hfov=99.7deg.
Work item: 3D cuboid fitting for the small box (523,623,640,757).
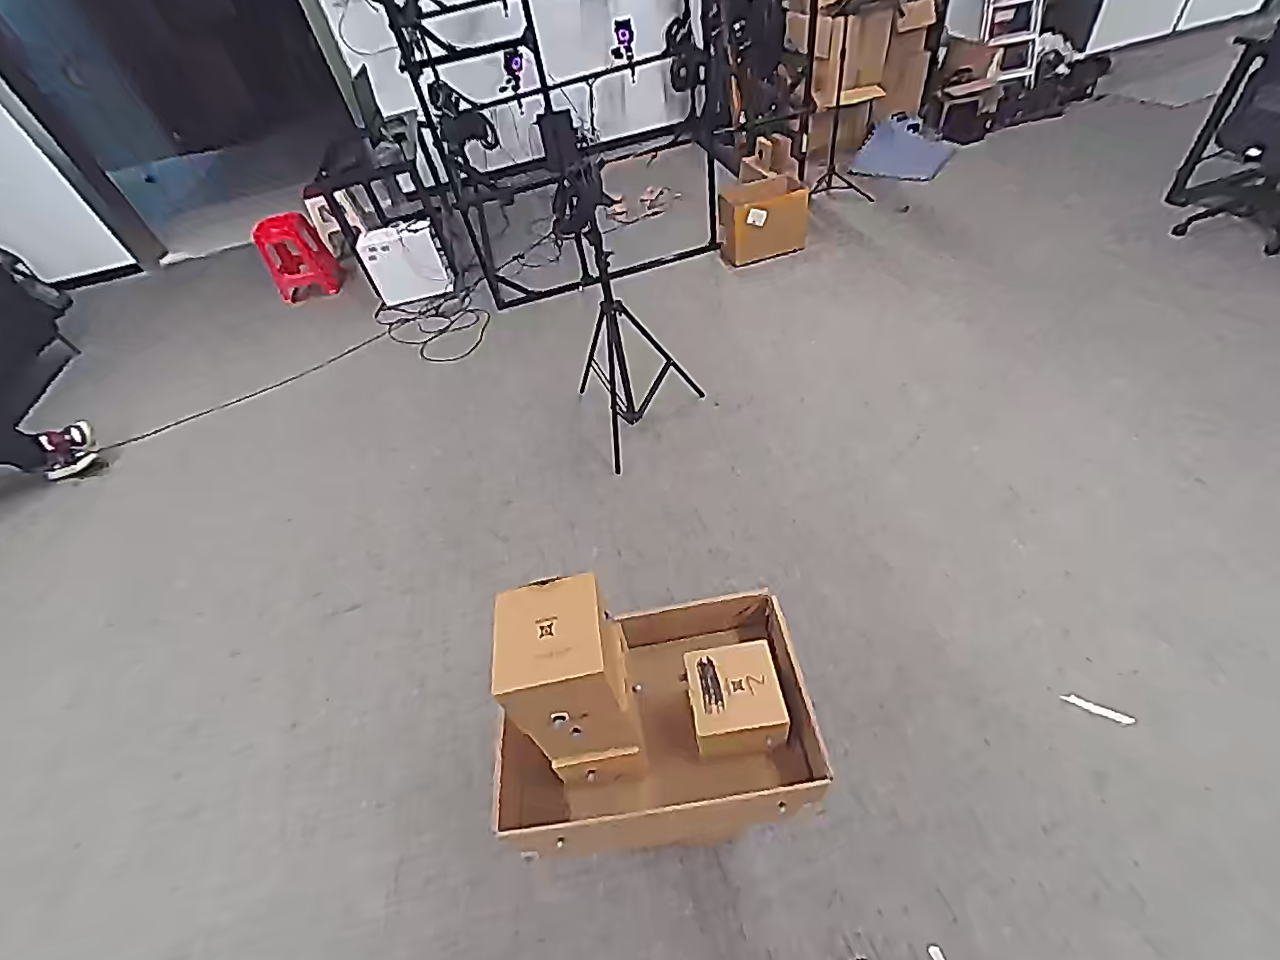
[{"bbox_3d":[-0.103,0.388,0.988,0.179,0.176,0.168,-10,46,1],"label":"small box"}]

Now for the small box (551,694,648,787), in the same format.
[{"bbox_3d":[-0.083,0.506,1.102,0.168,0.176,0.179,-11,46,0],"label":"small box"}]

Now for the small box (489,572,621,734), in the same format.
[{"bbox_3d":[-0.131,0.279,0.869,0.168,0.176,0.179,-12,45,0],"label":"small box"}]
